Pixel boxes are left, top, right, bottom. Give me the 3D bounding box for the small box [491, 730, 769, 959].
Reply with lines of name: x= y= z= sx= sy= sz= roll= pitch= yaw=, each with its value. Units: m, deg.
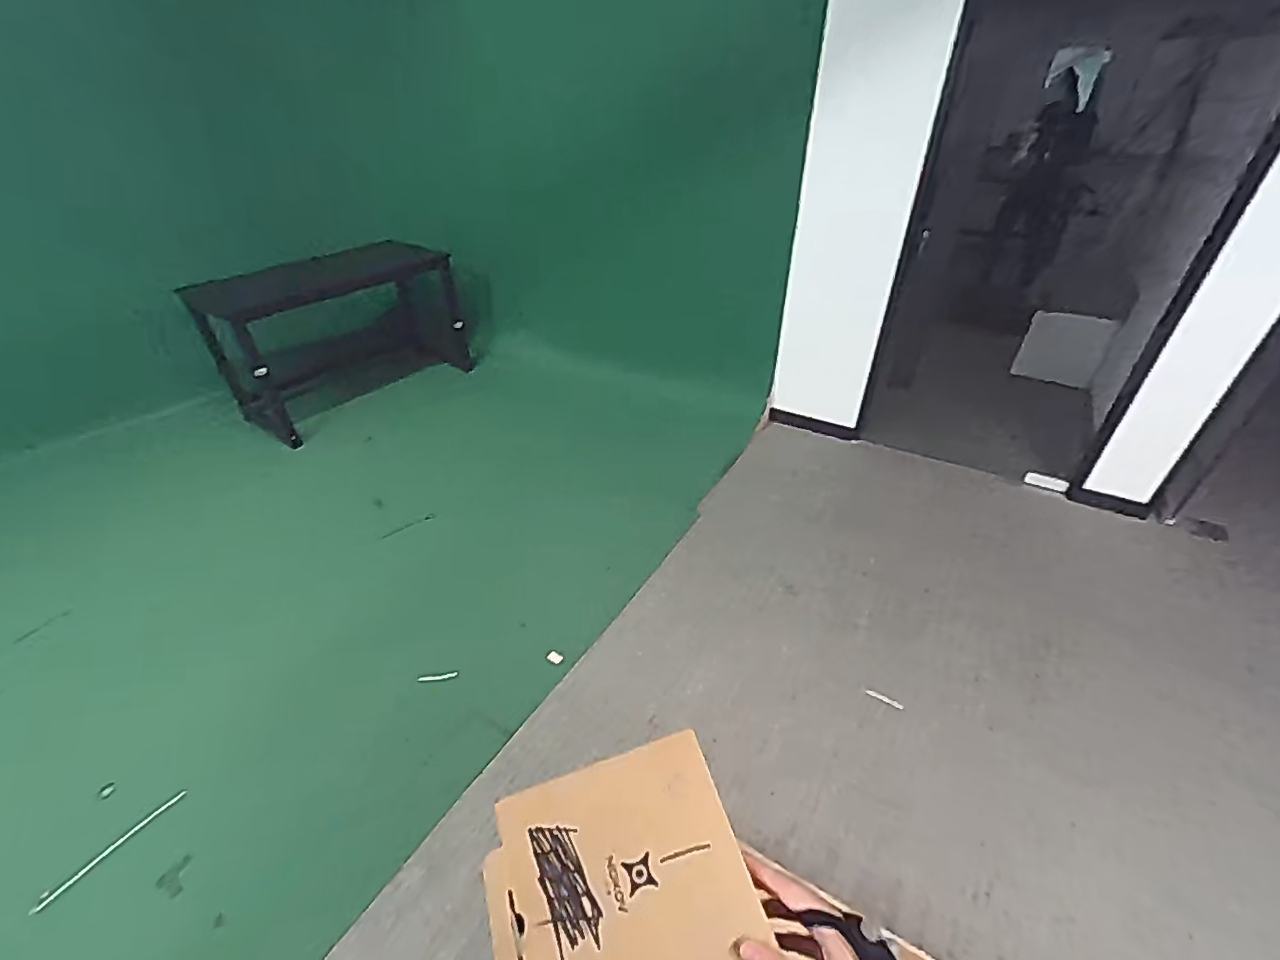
small box: x=-0.013 y=0.351 z=0.471 sx=0.179 sy=0.176 sz=0.168 roll=-16 pitch=53 yaw=-12
